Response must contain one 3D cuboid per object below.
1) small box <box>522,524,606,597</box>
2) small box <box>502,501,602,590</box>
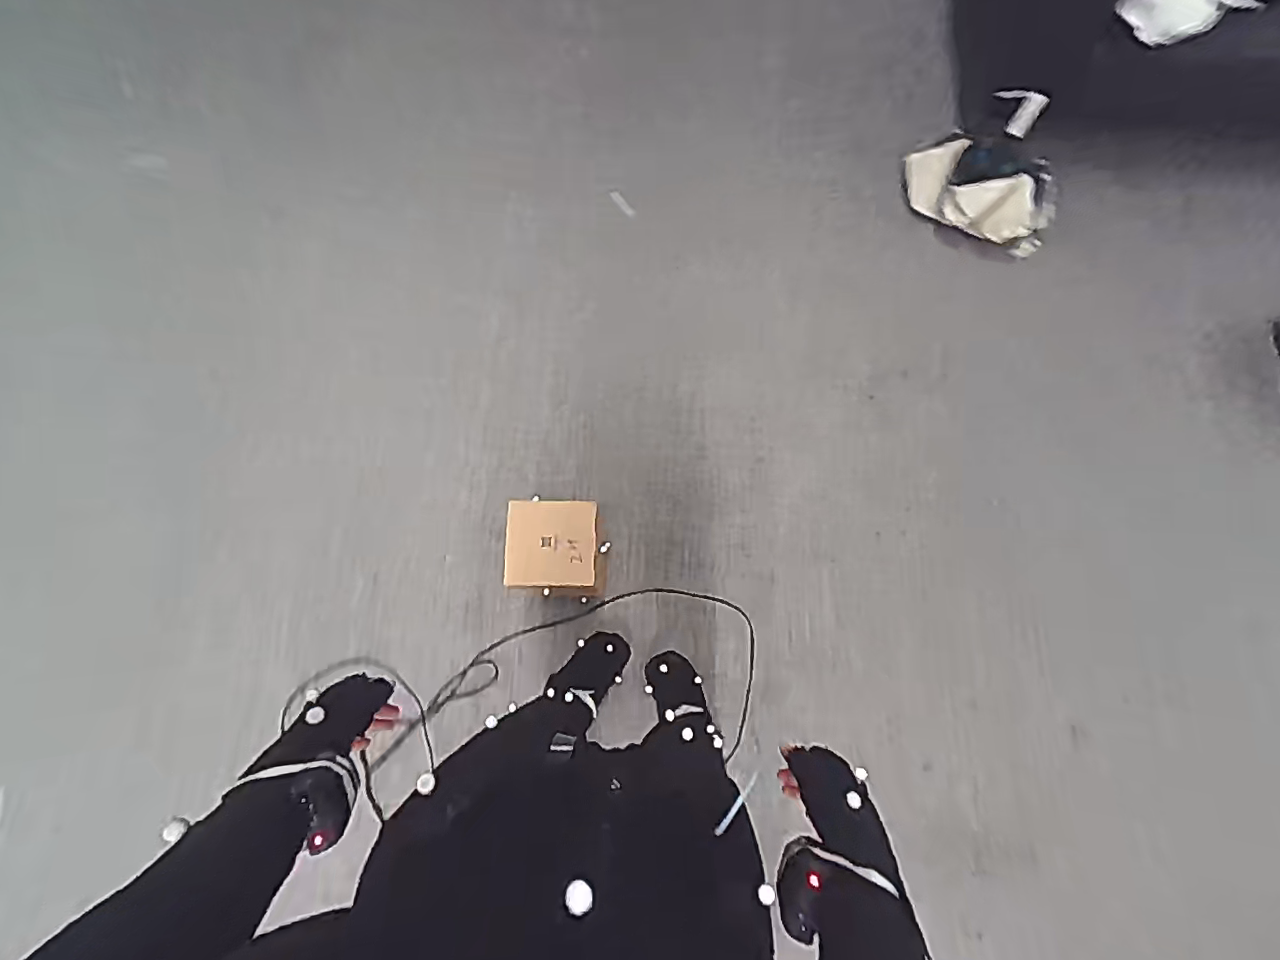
[{"bbox_3d":[-0.172,0.189,1.279,0.179,0.176,0.168,1,76,0],"label":"small box"},{"bbox_3d":[-0.174,0.142,1.122,0.179,0.176,0.168,1,77,0],"label":"small box"}]
